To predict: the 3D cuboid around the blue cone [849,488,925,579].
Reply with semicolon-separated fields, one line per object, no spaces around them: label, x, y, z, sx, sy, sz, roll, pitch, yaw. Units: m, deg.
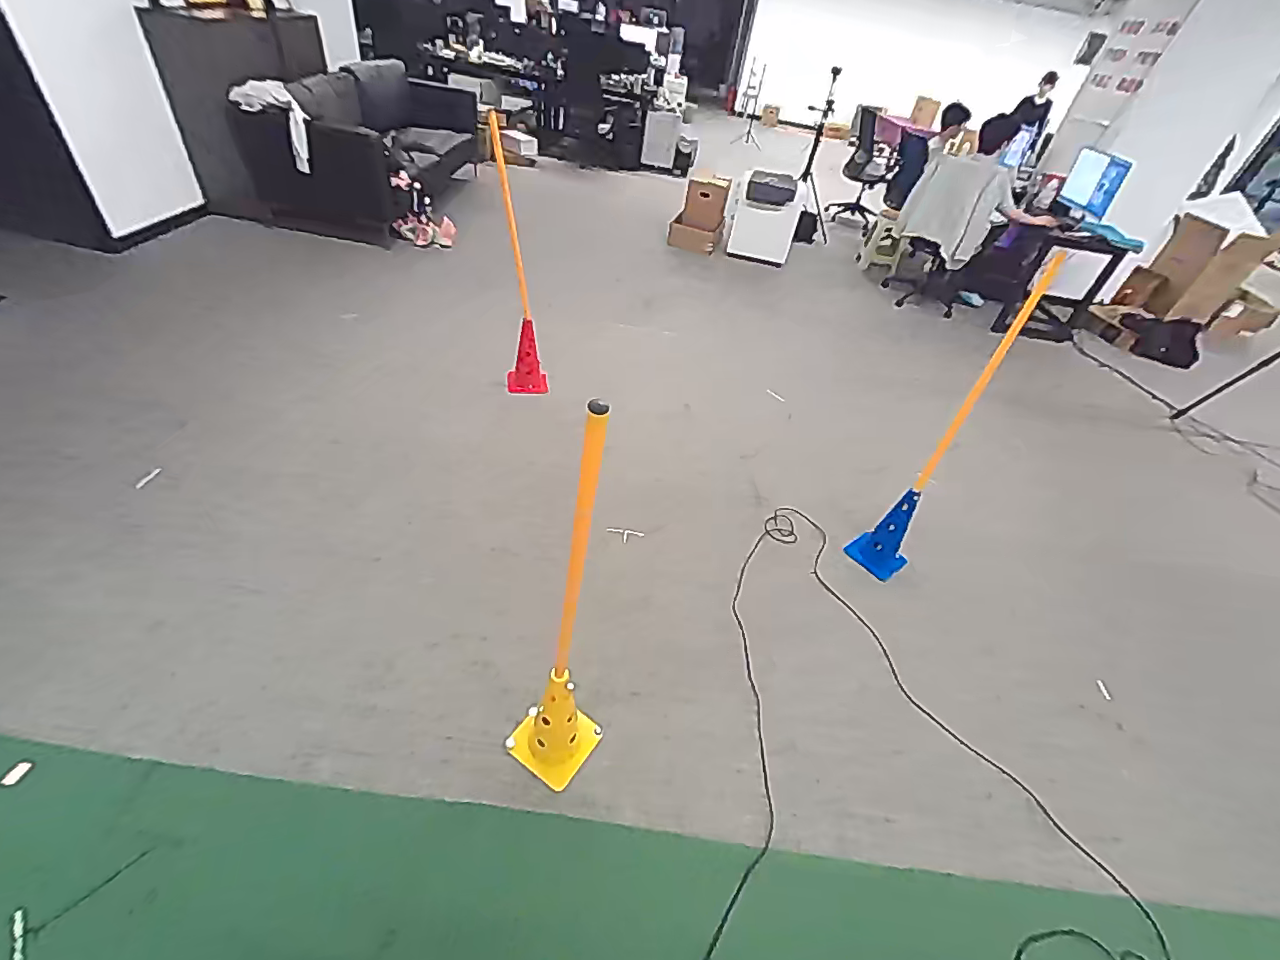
blue cone;0.977;0.179;2.075;0.193;0.380;0.192;-23;50;-36
